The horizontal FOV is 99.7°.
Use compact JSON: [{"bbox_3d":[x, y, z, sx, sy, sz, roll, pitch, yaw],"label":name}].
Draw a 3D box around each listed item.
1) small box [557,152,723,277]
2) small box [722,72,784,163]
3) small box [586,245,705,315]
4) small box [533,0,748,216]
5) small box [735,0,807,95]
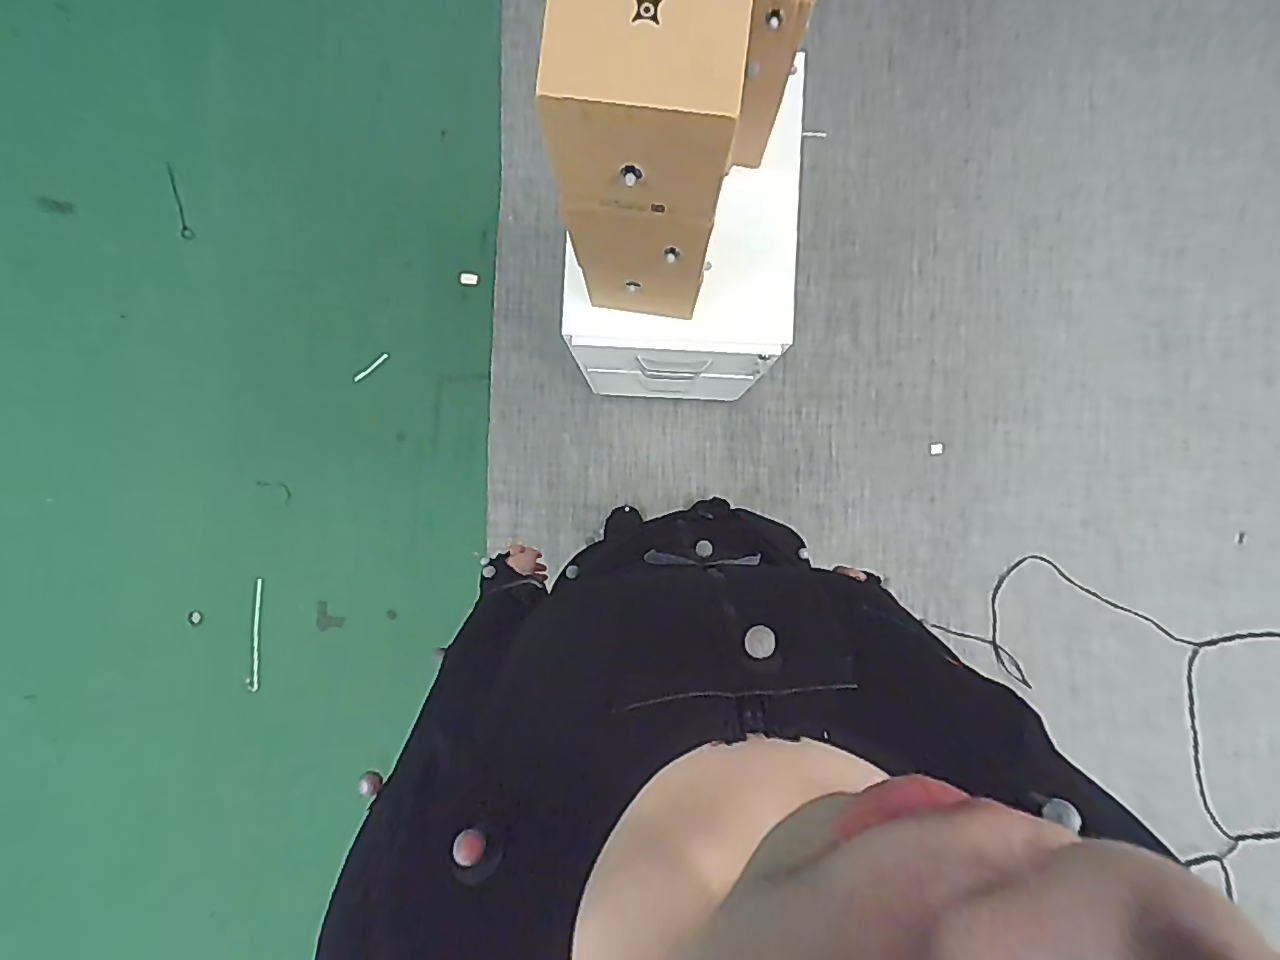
[{"bbox_3d":[0.006,-0.373,0.678,0.179,0.176,0.168,8,87,2],"label":"small box"},{"bbox_3d":[0.129,-0.630,0.845,0.179,0.176,0.168,10,90,2],"label":"small box"},{"bbox_3d":[0.011,-0.371,0.841,0.179,0.176,0.168,9,88,0],"label":"small box"},{"bbox_3d":[0.005,-0.382,0.514,0.168,0.176,0.179,7,87,0],"label":"small box"},{"bbox_3d":[0.121,-0.630,0.683,0.179,0.176,0.168,9,89,0],"label":"small box"}]
